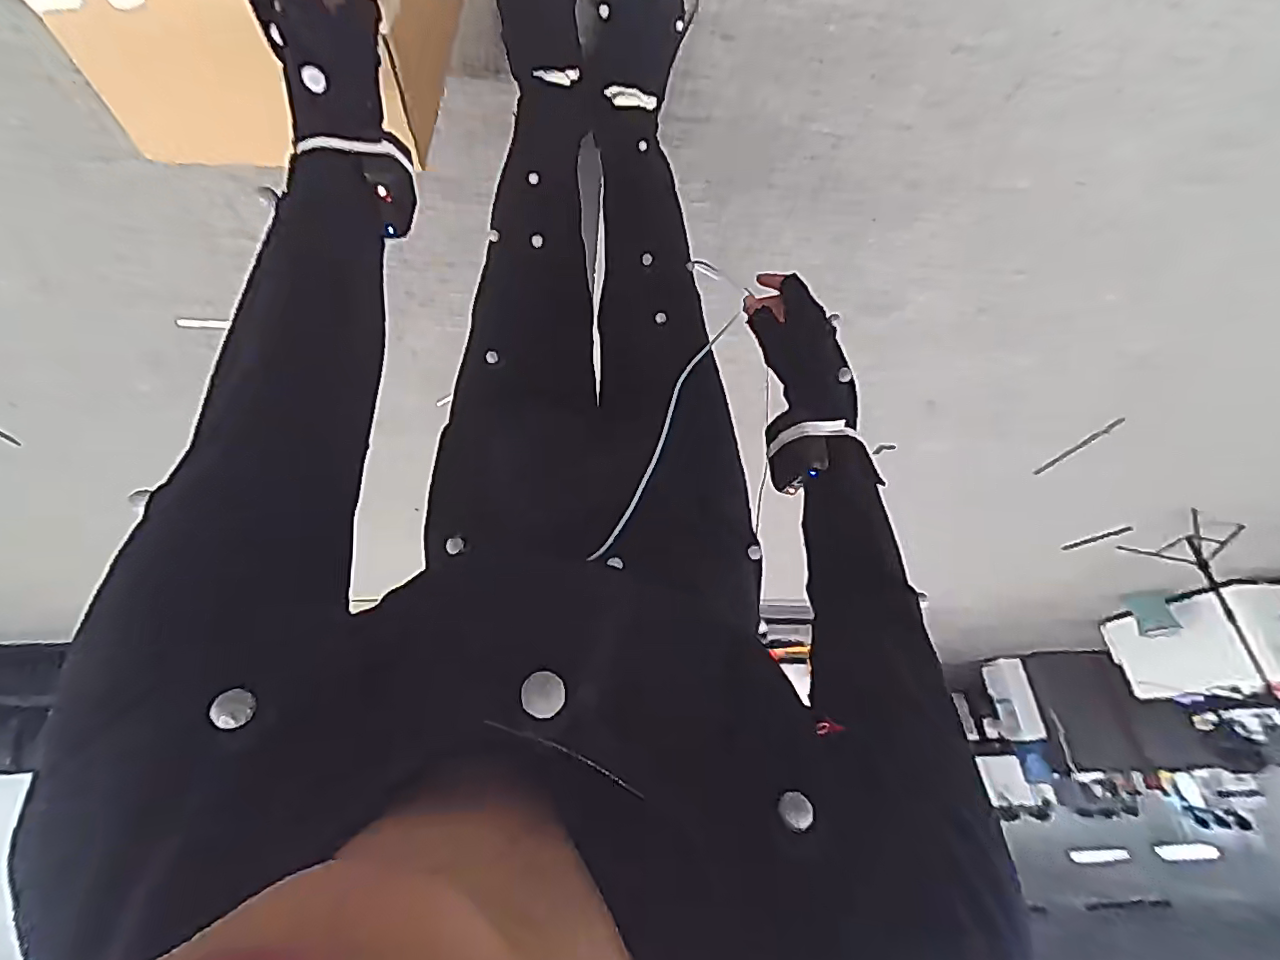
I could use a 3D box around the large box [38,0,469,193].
[{"bbox_3d":[-0.400,-0.591,0.608,0.320,0.408,0.320,0,153,-5],"label":"large box"}]
